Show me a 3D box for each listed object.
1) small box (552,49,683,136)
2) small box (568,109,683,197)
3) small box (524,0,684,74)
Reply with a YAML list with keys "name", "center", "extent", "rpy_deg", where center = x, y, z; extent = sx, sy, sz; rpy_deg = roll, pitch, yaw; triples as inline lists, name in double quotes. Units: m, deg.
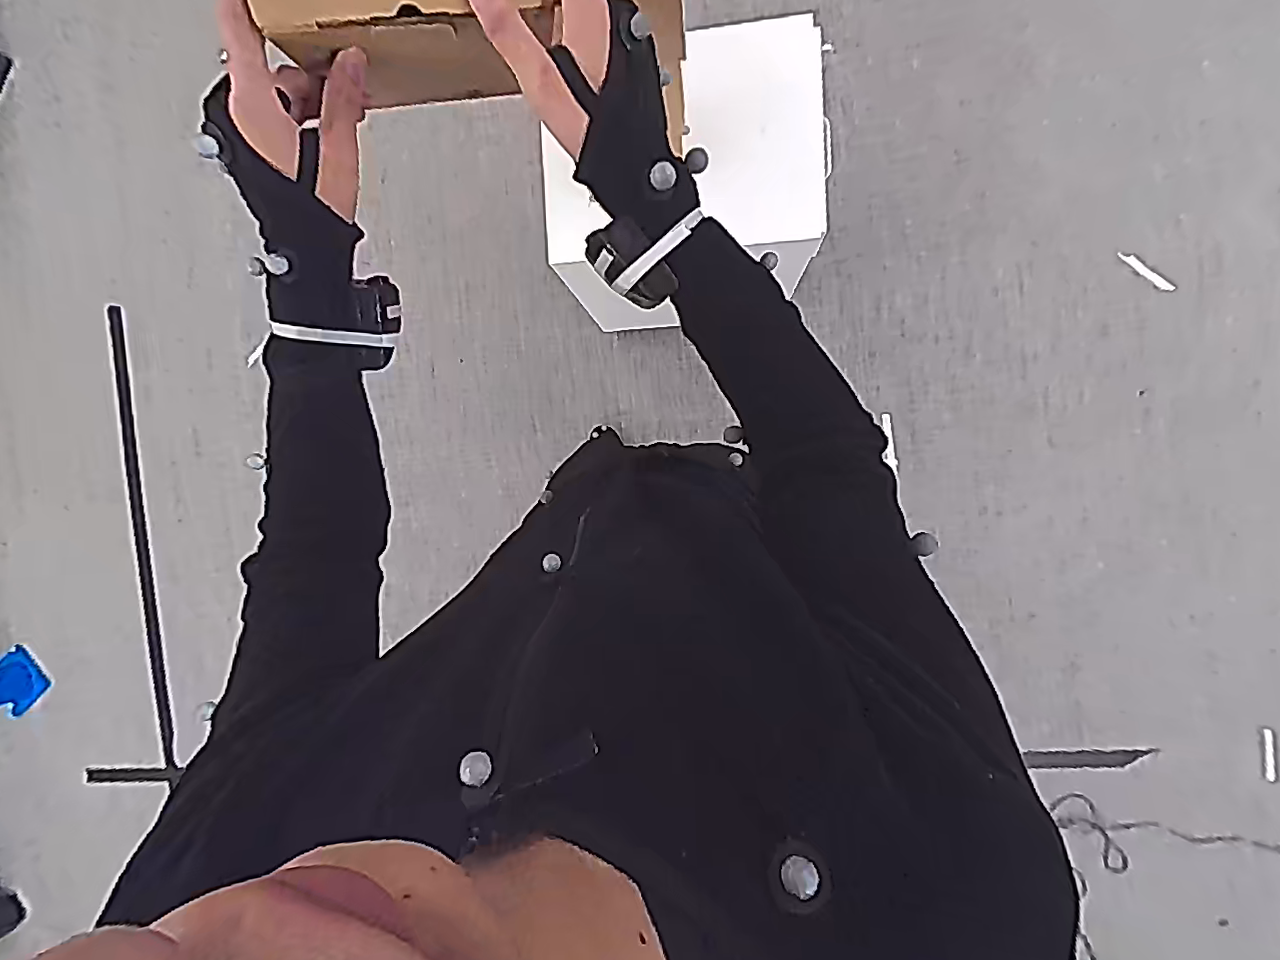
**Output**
- name: "small box"
  center: [-0.029, -0.618, 0.763]
  extent: [0.168, 0.176, 0.179]
  rpy_deg: [-4, 91, 7]
- name: "small box"
  center: [-0.021, -0.610, 0.925]
  extent: [0.179, 0.176, 0.168]
  rpy_deg: [-5, 92, 6]
- name: "small box"
  center: [-0.046, -0.594, 0.599]
  extent: [0.179, 0.176, 0.168]
  rpy_deg: [-4, 92, 7]
